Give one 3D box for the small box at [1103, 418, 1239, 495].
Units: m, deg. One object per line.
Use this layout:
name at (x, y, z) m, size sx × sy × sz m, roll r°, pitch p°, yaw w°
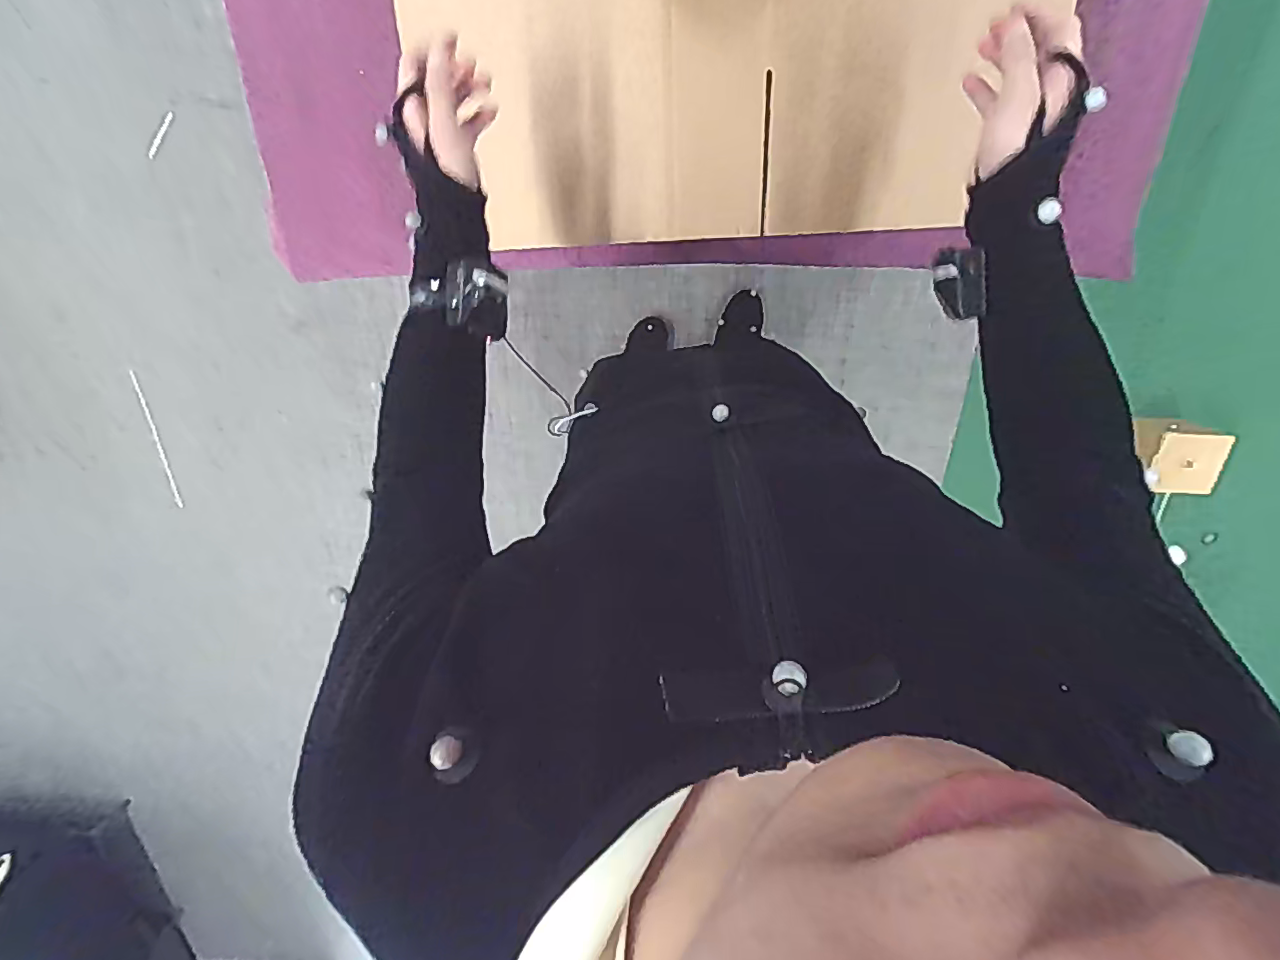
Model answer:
small box at (1.443, -0.070, 1.482) m, size 0.179 × 0.176 × 0.168 m, roll 2°, pitch 112°, yaw 4°
